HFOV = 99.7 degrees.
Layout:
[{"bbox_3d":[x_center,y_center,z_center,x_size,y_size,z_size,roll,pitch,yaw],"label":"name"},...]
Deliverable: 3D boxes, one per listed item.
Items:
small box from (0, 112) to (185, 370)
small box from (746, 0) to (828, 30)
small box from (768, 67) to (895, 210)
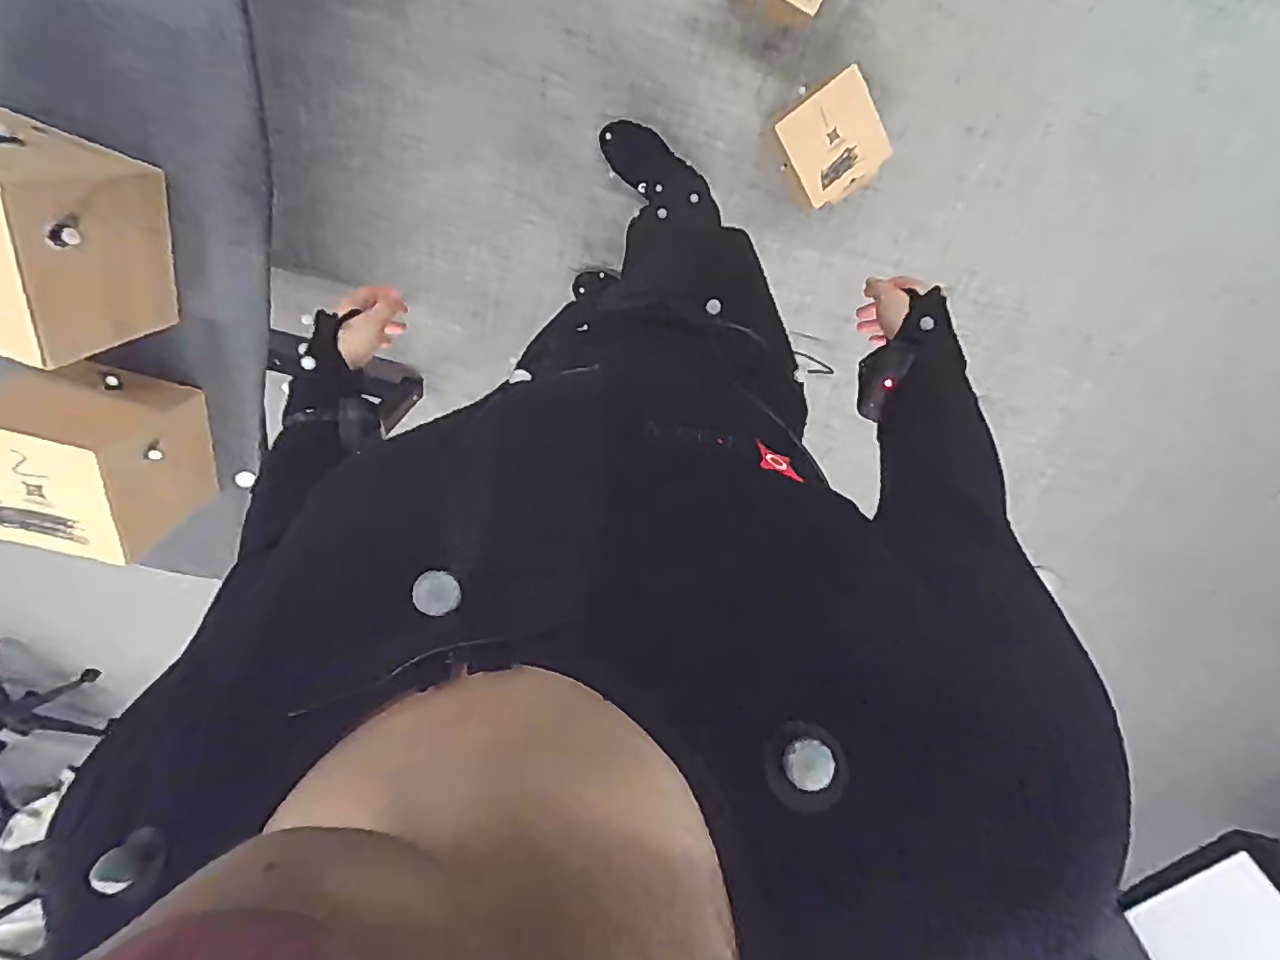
[{"bbox_3d":[-0.606,-0.244,0.540,0.168,0.176,0.179,20,123,-8],"label":"small box"},{"bbox_3d":[0.269,-0.923,0.926,0.168,0.176,0.179,22,121,-12],"label":"small box"},{"bbox_3d":[0.375,-0.678,1.081,0.168,0.176,0.179,-30,116,20],"label":"small box"}]
